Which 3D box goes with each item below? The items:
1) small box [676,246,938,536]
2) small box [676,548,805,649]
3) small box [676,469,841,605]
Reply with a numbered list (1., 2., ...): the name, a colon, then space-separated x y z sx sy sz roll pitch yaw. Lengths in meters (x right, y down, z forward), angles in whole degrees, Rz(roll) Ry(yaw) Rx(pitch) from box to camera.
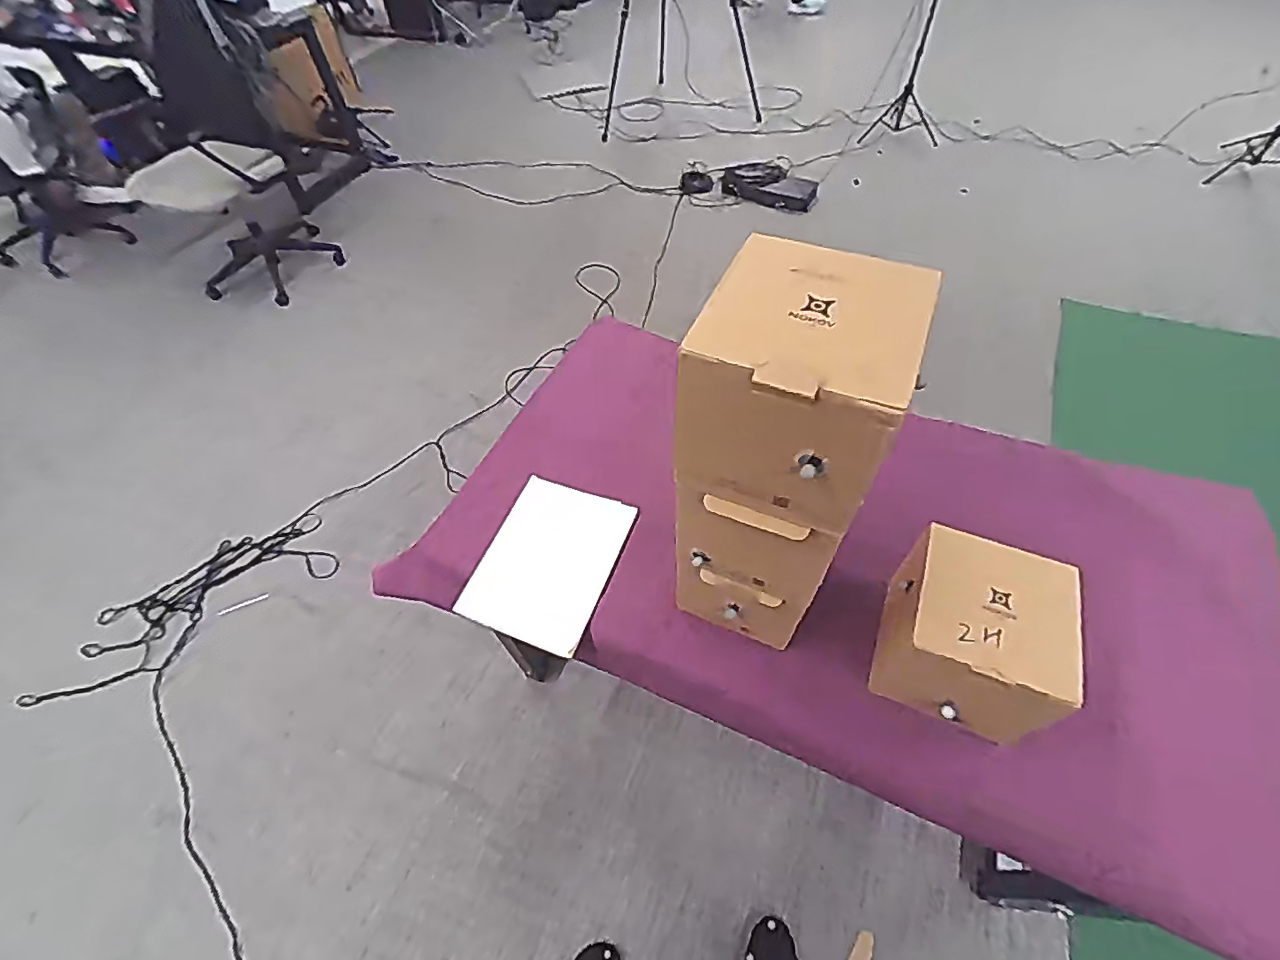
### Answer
1. small box: 0.142 -0.077 0.493 0.168 0.176 0.179 20 56 16
2. small box: 0.160 0.111 0.761 0.168 0.176 0.179 19 57 16
3. small box: 0.151 0.017 0.626 0.168 0.176 0.179 19 56 17
